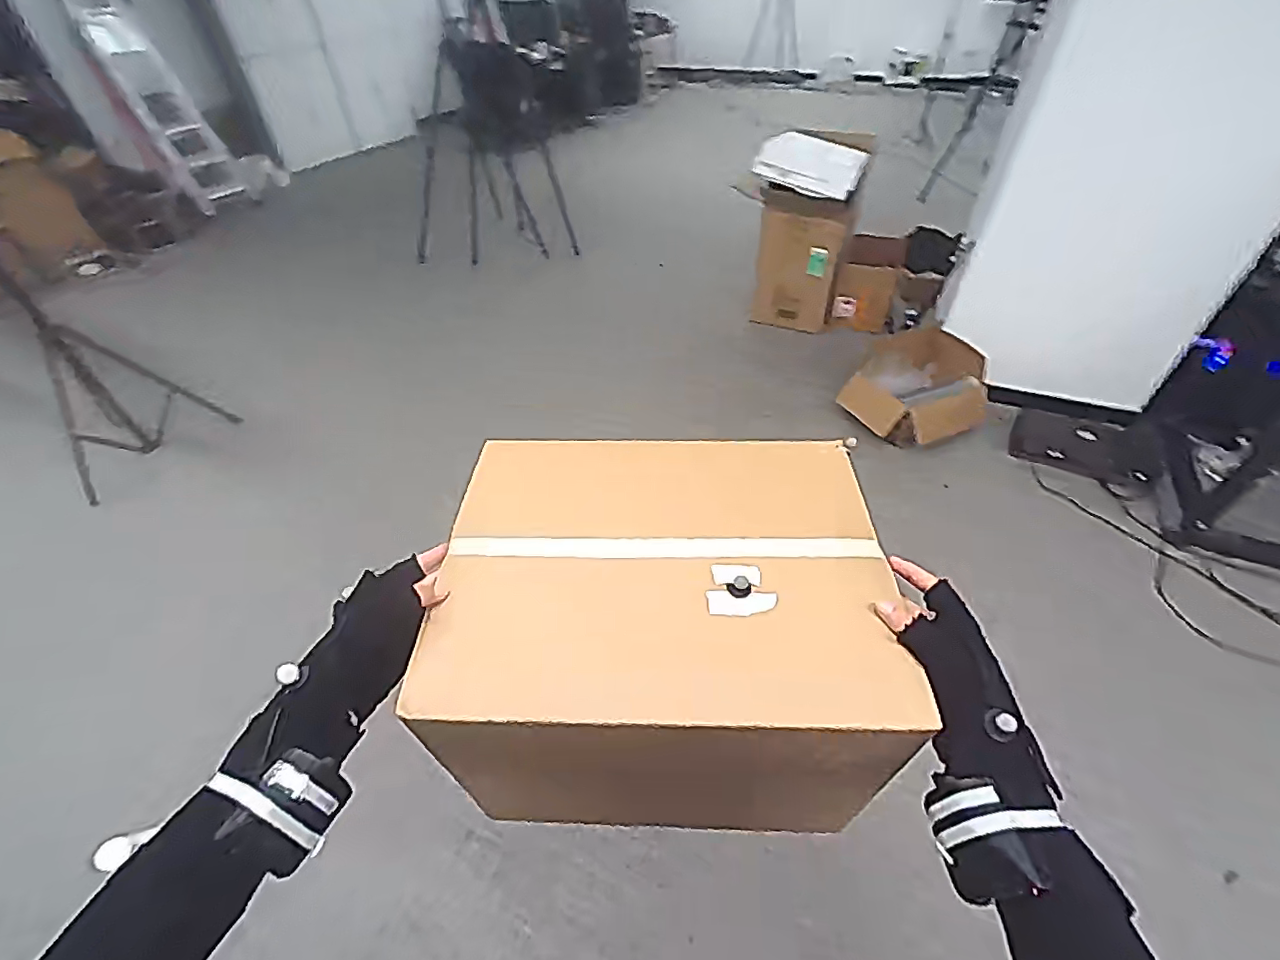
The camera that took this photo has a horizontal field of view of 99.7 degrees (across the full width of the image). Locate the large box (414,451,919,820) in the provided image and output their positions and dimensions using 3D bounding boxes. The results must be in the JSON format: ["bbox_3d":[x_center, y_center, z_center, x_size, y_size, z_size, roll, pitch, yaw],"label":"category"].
[{"bbox_3d":[0.021,0.179,0.627,0.408,0.320,0.320,1,45,2],"label":"large box"}]
